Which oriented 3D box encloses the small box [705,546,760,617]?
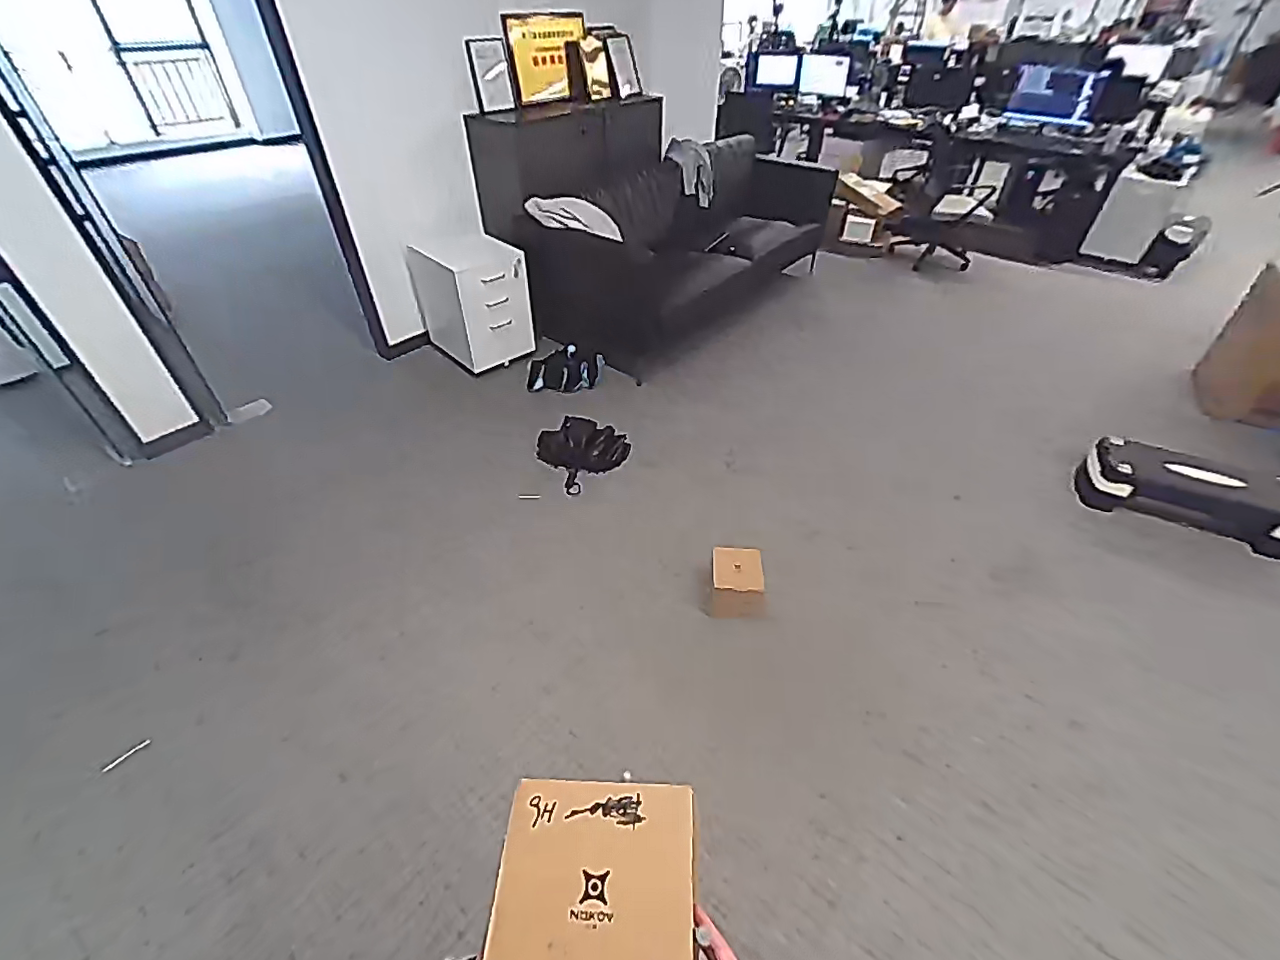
[{"bbox_3d":[0.315,0.352,1.866,0.168,0.176,0.179,3,40,1],"label":"small box"}]
